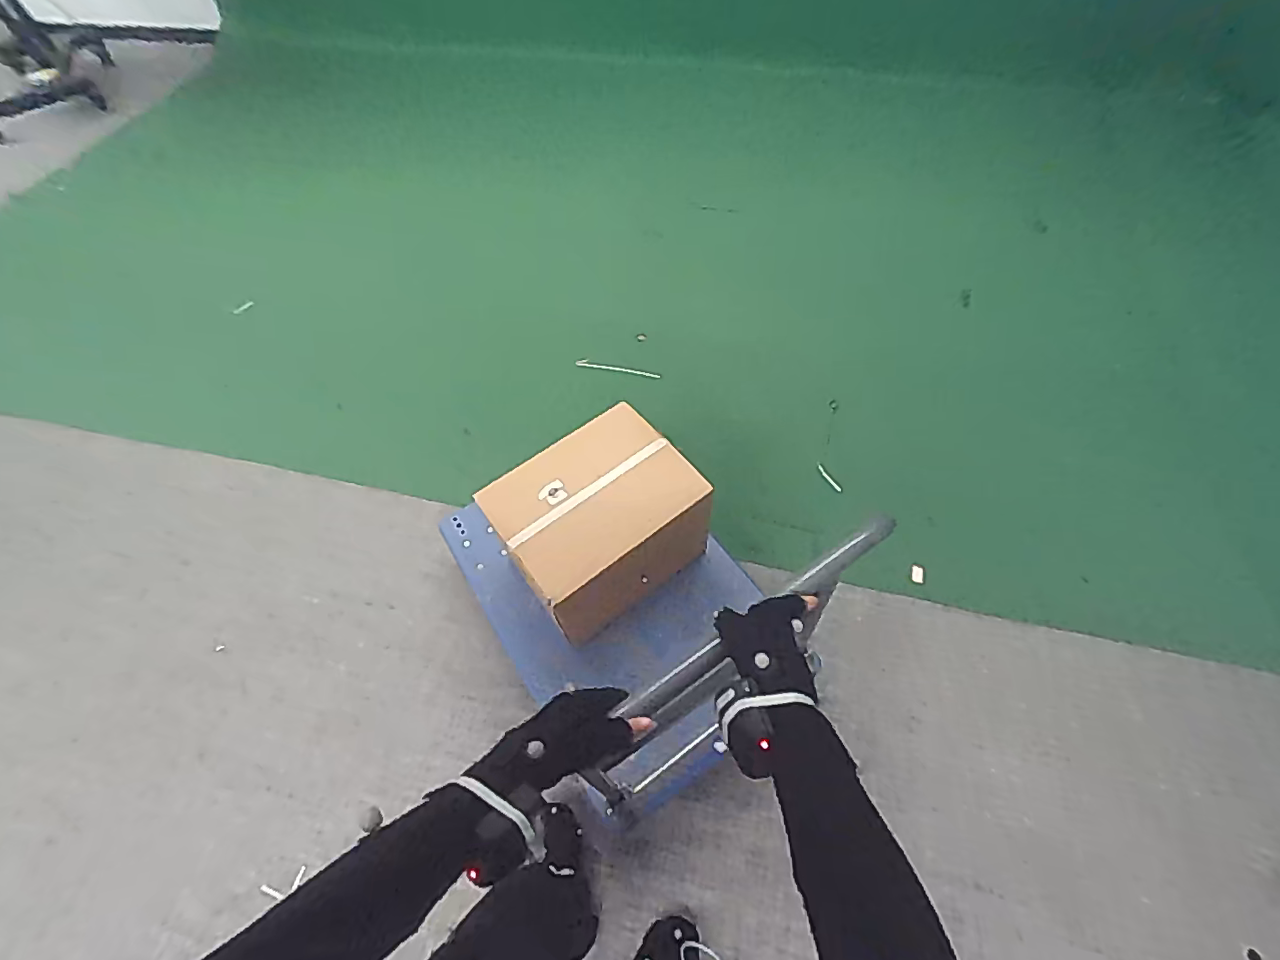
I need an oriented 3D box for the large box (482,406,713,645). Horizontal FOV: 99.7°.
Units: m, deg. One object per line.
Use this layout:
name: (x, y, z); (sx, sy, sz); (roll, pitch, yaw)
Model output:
large box: (-0.083, 0.110, 1.262); (0.408, 0.320, 0.320); (-35, 63, -17)
